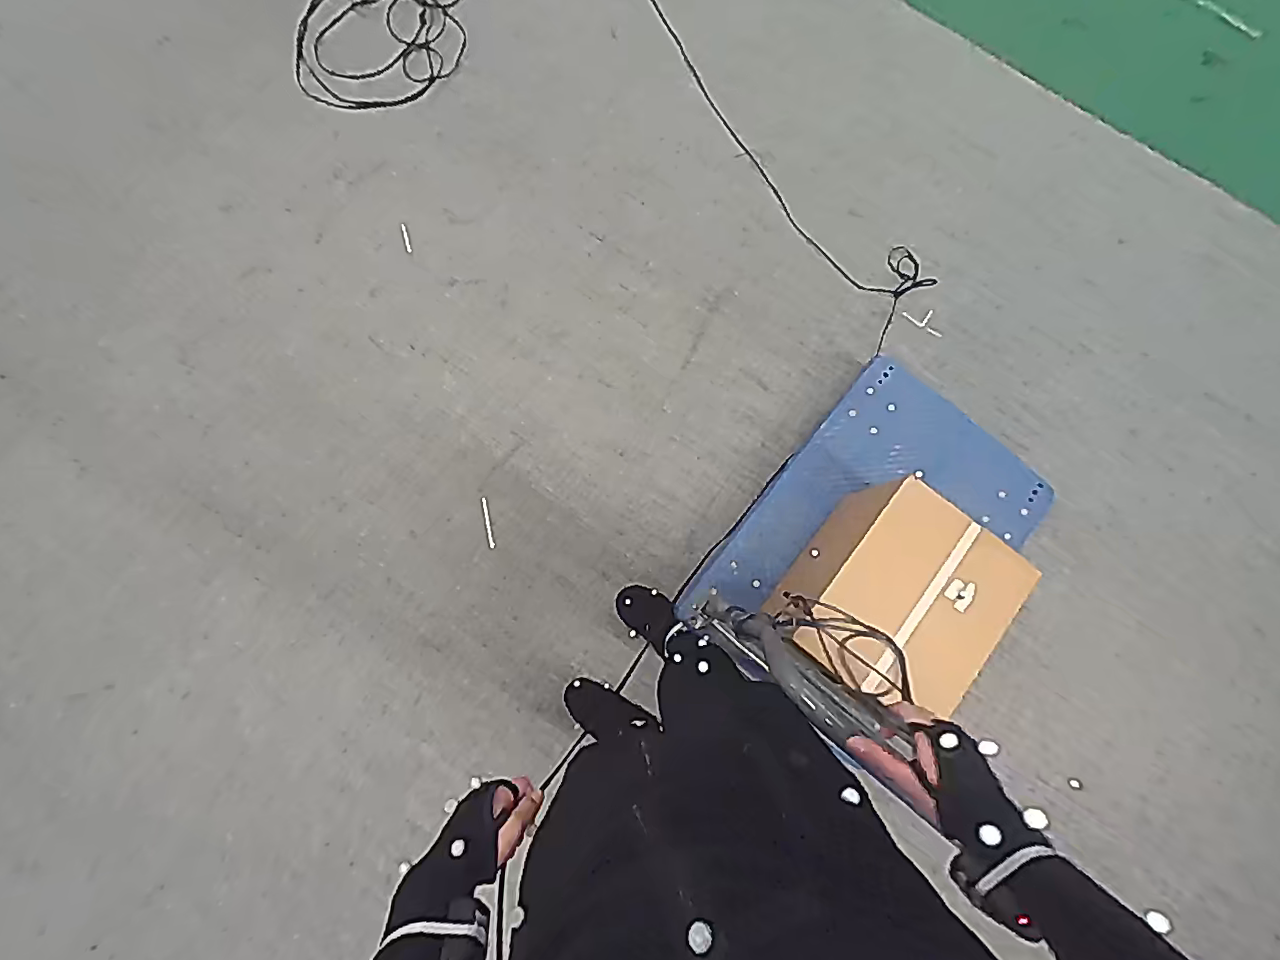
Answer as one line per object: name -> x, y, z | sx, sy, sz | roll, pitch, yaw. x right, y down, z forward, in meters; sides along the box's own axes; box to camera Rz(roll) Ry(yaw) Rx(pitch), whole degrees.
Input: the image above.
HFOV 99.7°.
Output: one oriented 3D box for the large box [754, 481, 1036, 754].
large box -> 0.507, 0.274, 1.146 | 0.320, 0.320, 0.408 | 39, 79, 4
